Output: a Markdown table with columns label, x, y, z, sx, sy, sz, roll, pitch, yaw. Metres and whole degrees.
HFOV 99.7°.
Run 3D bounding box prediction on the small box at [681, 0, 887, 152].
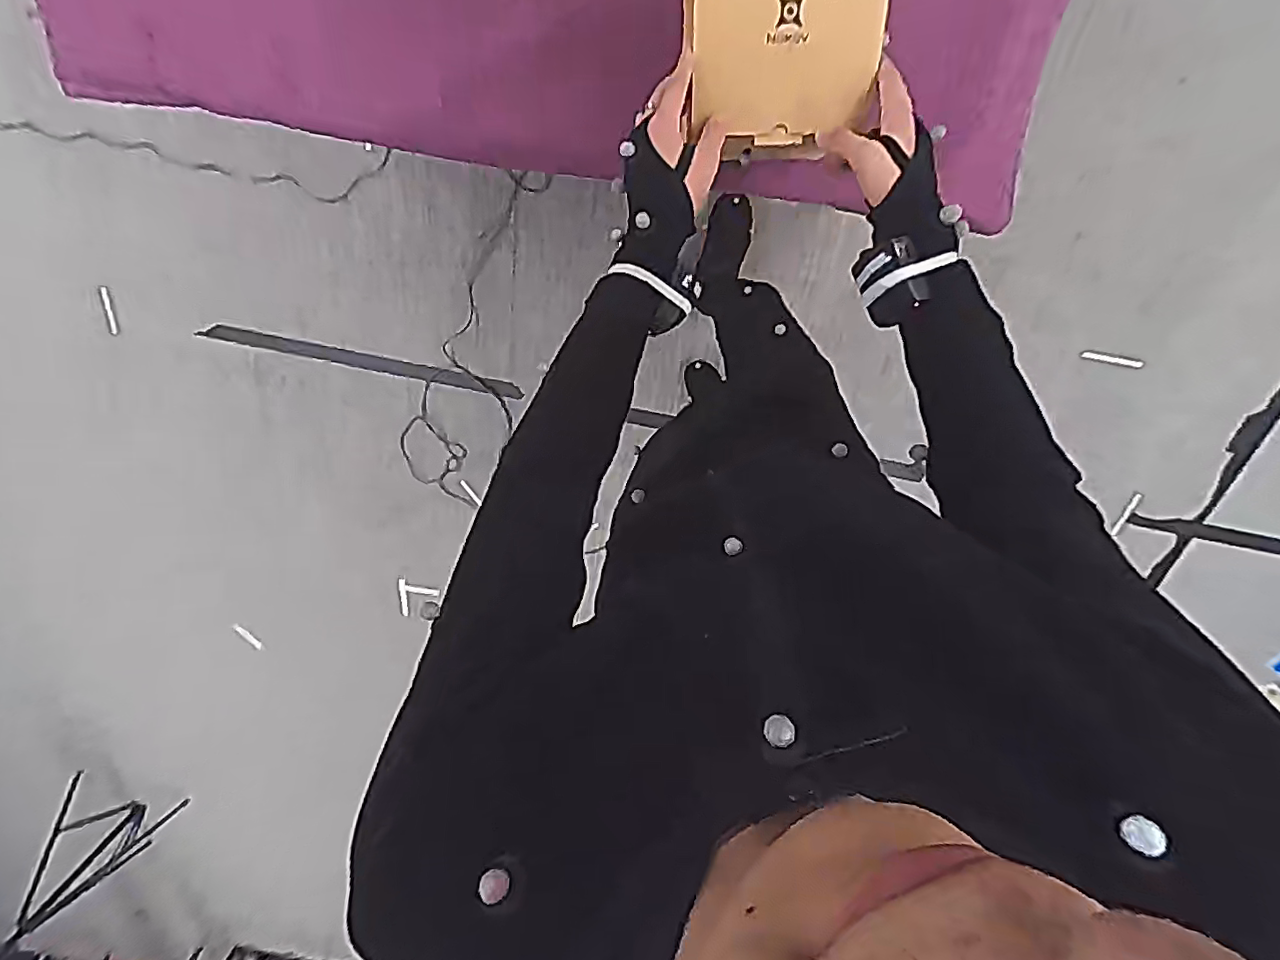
| label | x | y | z | sx | sy | sz | roll | pitch | yaw |
| --- | --- | --- | --- | --- | --- | --- | --- | --- | --- |
| small box | 0.127 | -0.434 | 0.529 | 0.168 | 0.176 | 0.179 | 0 | 116 | 2 |
